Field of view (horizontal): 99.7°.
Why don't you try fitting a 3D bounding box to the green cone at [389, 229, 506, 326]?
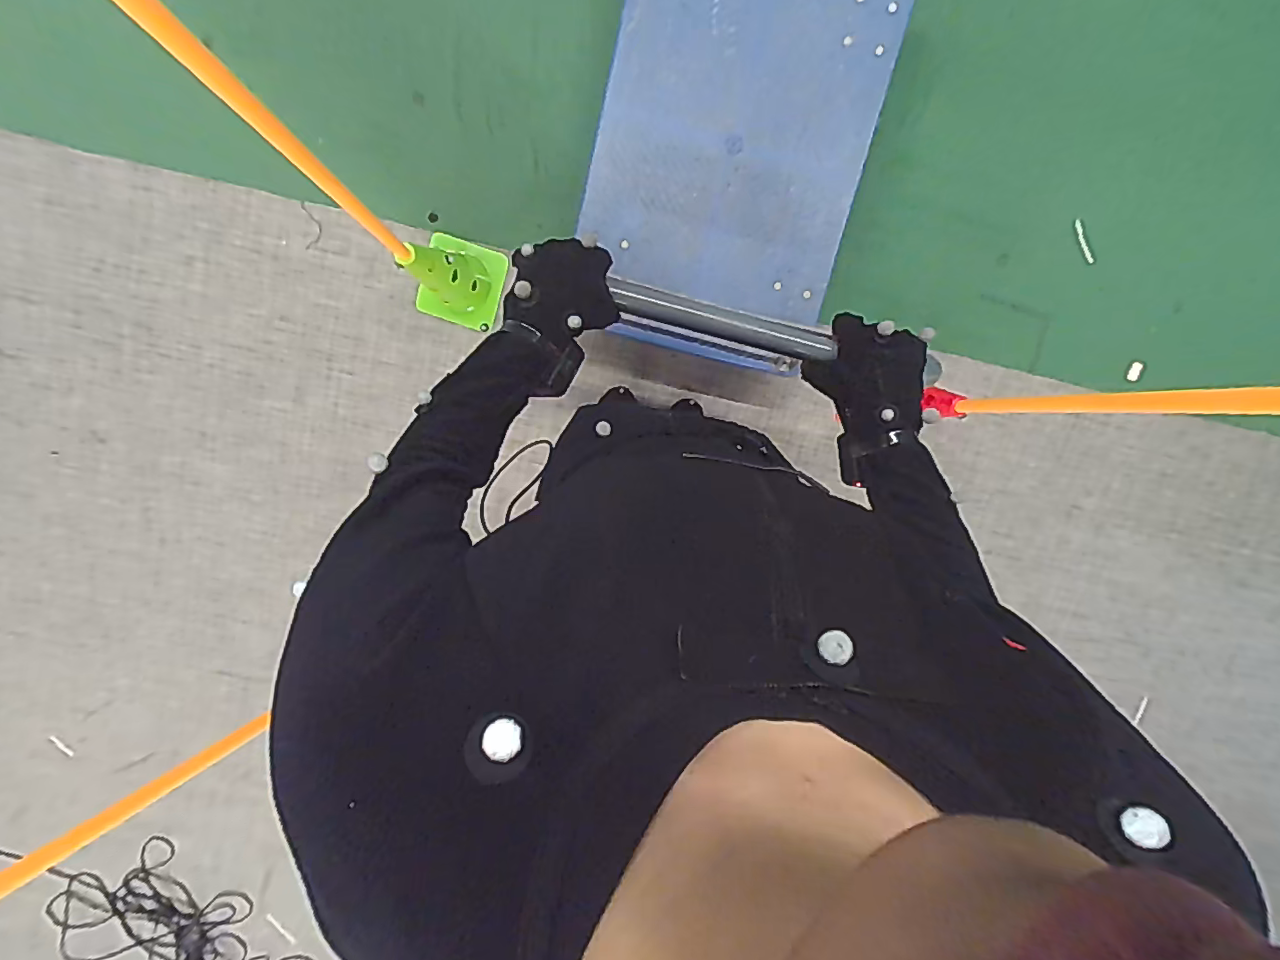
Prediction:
[{"bbox_3d":[-0.453,-0.480,1.202,0.202,0.368,0.200,17,100,-3],"label":"green cone"}]
